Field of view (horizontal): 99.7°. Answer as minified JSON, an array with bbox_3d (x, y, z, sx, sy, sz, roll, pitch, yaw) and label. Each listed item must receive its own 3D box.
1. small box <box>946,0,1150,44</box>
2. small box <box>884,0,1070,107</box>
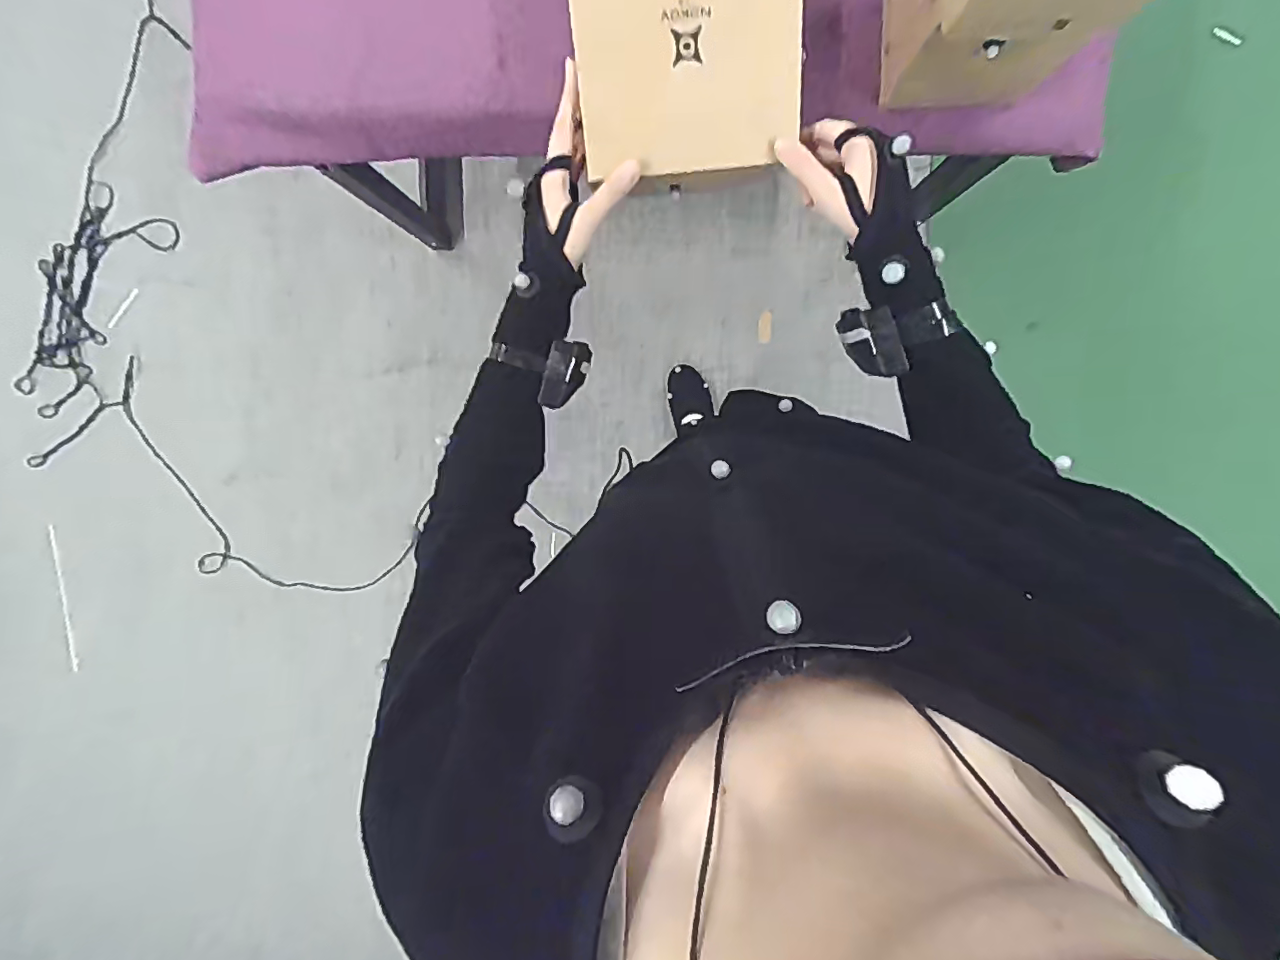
[{"bbox_3d":[0.383,-0.517,0.453,0.168,0.176,0.179,2,97,4],"label":"small box"},{"bbox_3d":[0.395,-0.555,0.612,0.179,0.176,0.168,-1,97,3],"label":"small box"}]
